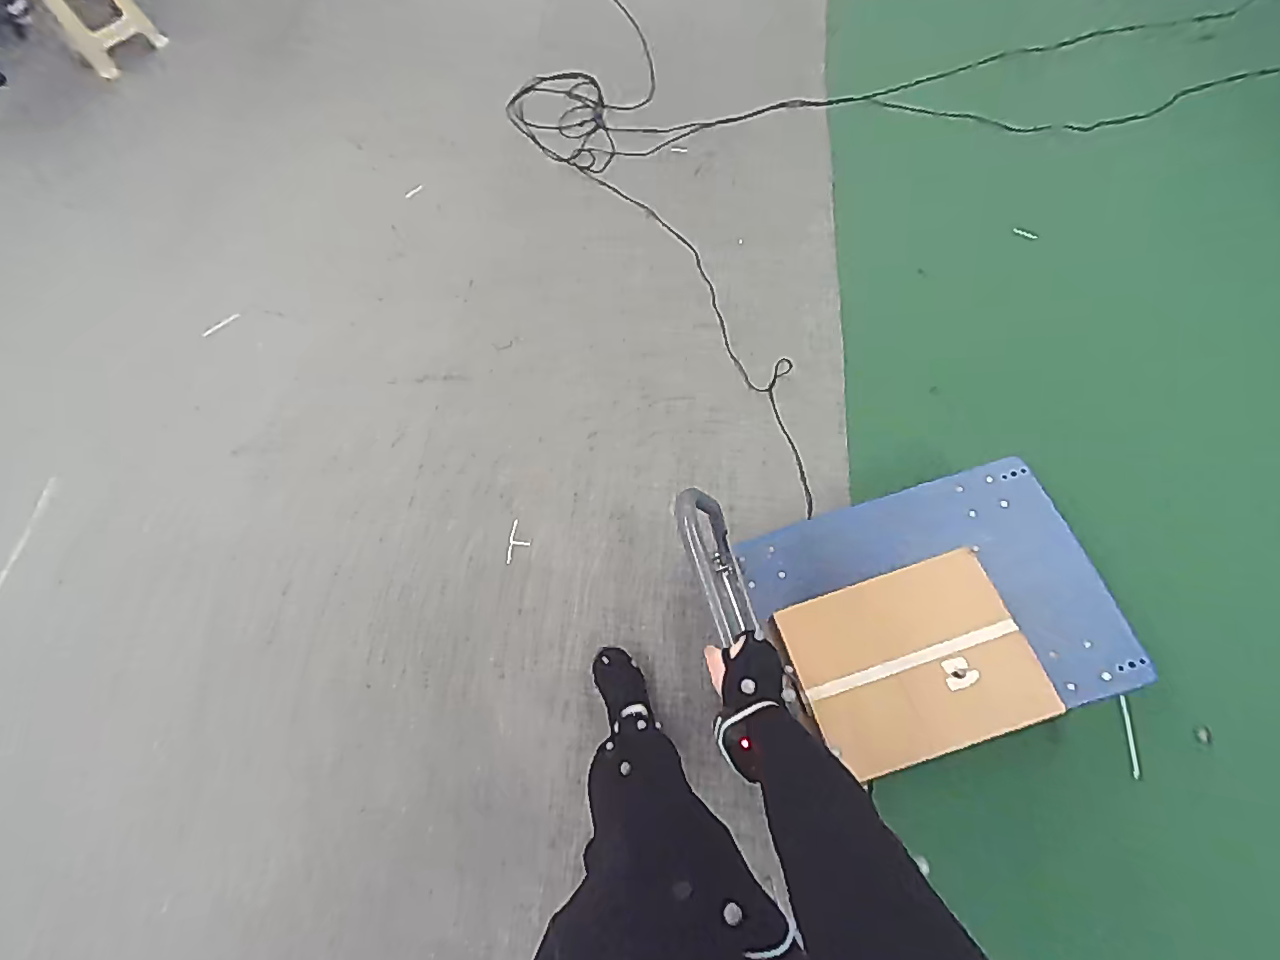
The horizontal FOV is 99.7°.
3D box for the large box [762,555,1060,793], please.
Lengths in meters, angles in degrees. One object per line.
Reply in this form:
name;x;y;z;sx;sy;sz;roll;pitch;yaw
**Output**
large box;0.506;0.396;1.115;0.408;0.320;0.320;-18;67;0
